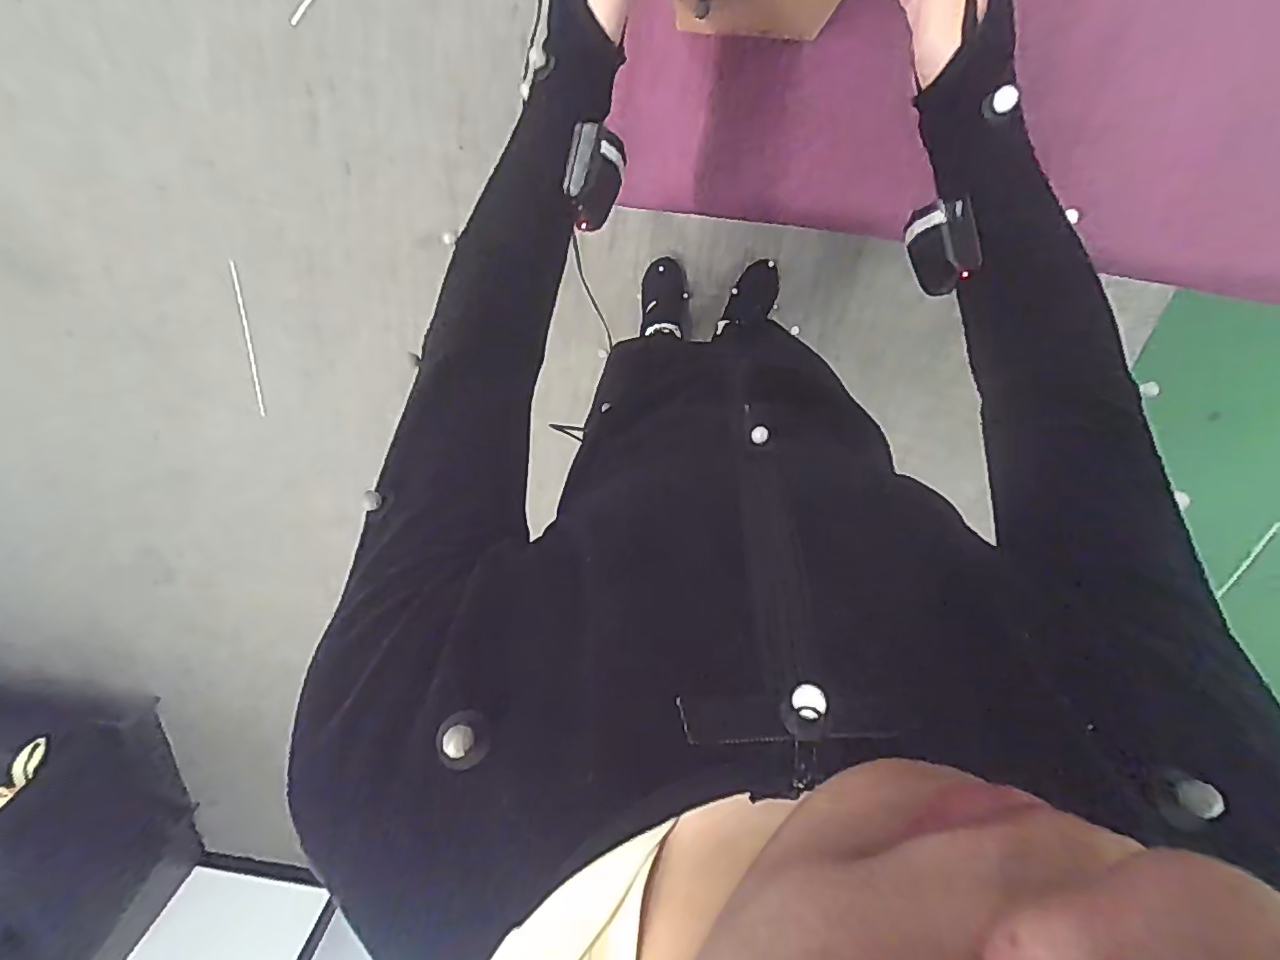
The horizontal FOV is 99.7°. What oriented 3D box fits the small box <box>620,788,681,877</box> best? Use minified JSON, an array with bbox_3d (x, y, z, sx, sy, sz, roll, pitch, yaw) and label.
[{"bbox_3d":[0.035,1.128,1.739,0.168,0.176,0.179,10,118,0],"label":"small box"}]
